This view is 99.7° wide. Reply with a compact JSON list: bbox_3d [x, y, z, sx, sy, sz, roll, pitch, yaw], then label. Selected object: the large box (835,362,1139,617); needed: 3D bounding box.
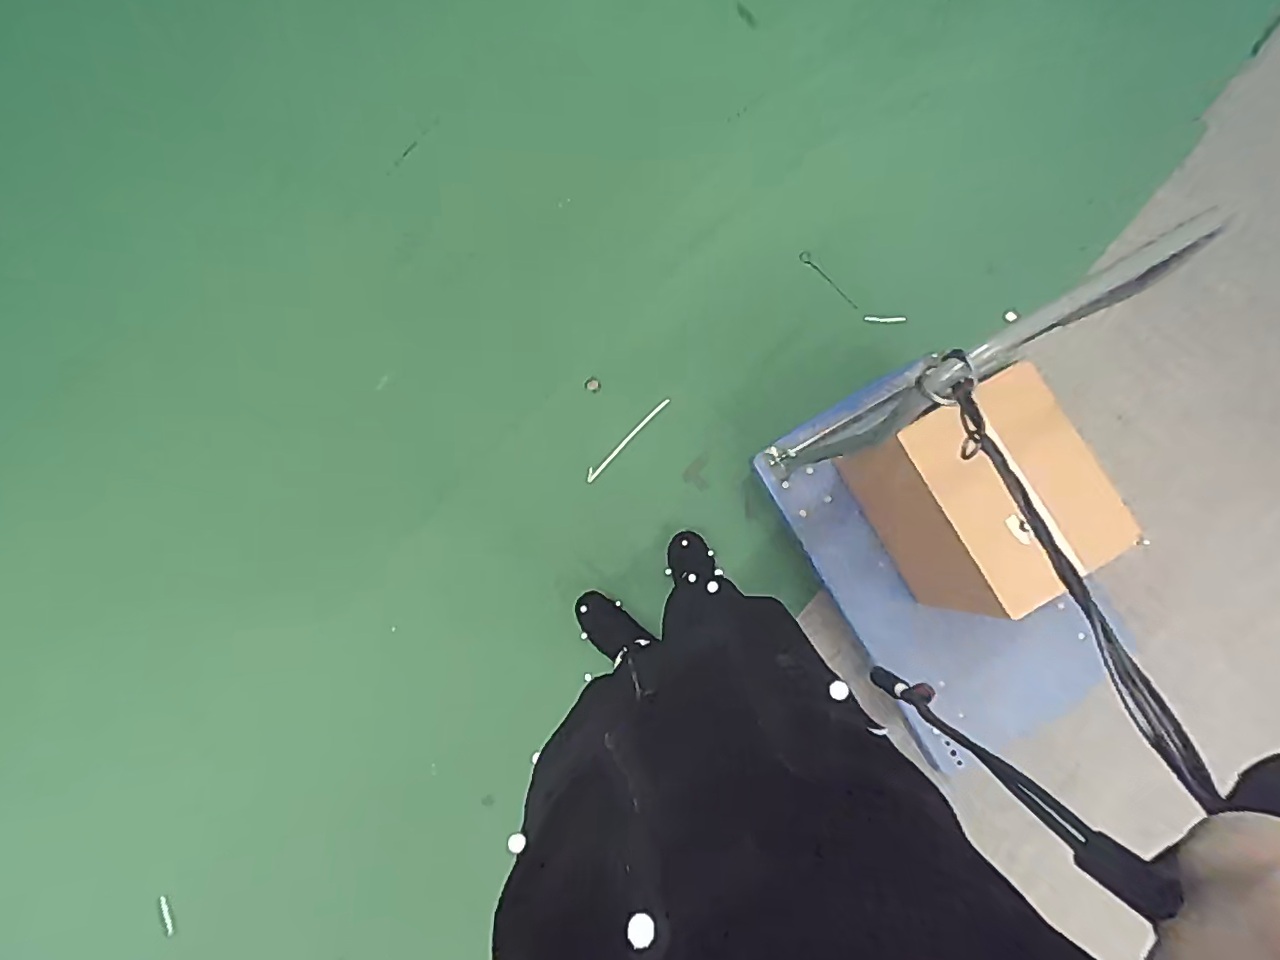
[{"bbox_3d":[0.705,0.027,1.166,0.320,0.320,0.408,-29,85,-5],"label":"large box"}]
